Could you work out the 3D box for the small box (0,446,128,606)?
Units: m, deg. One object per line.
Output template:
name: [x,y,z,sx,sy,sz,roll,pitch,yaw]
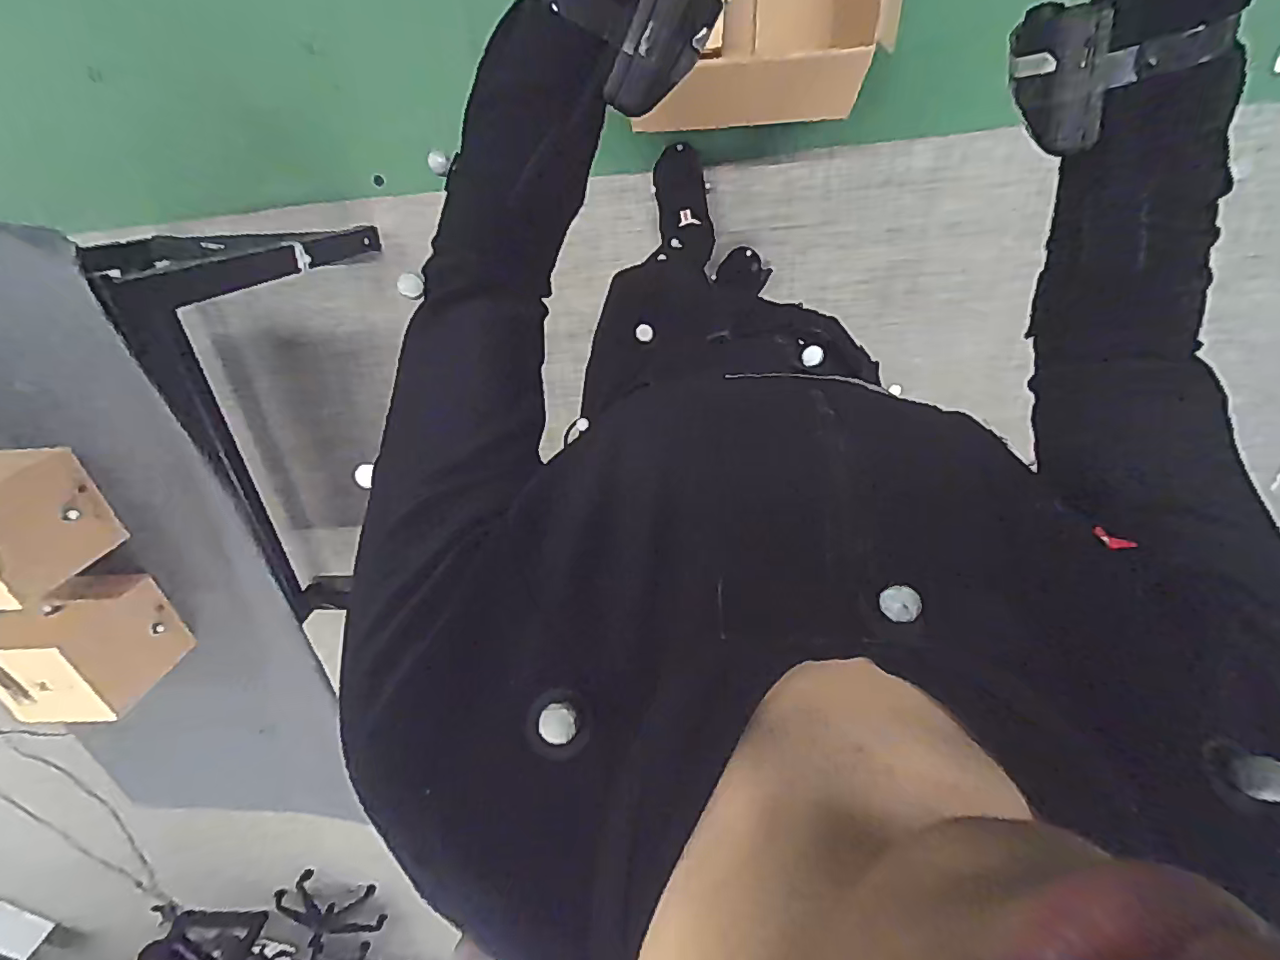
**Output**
small box: [-0.913,0.060,0.771,0.179,0.176,0.168,-2,120,5]
